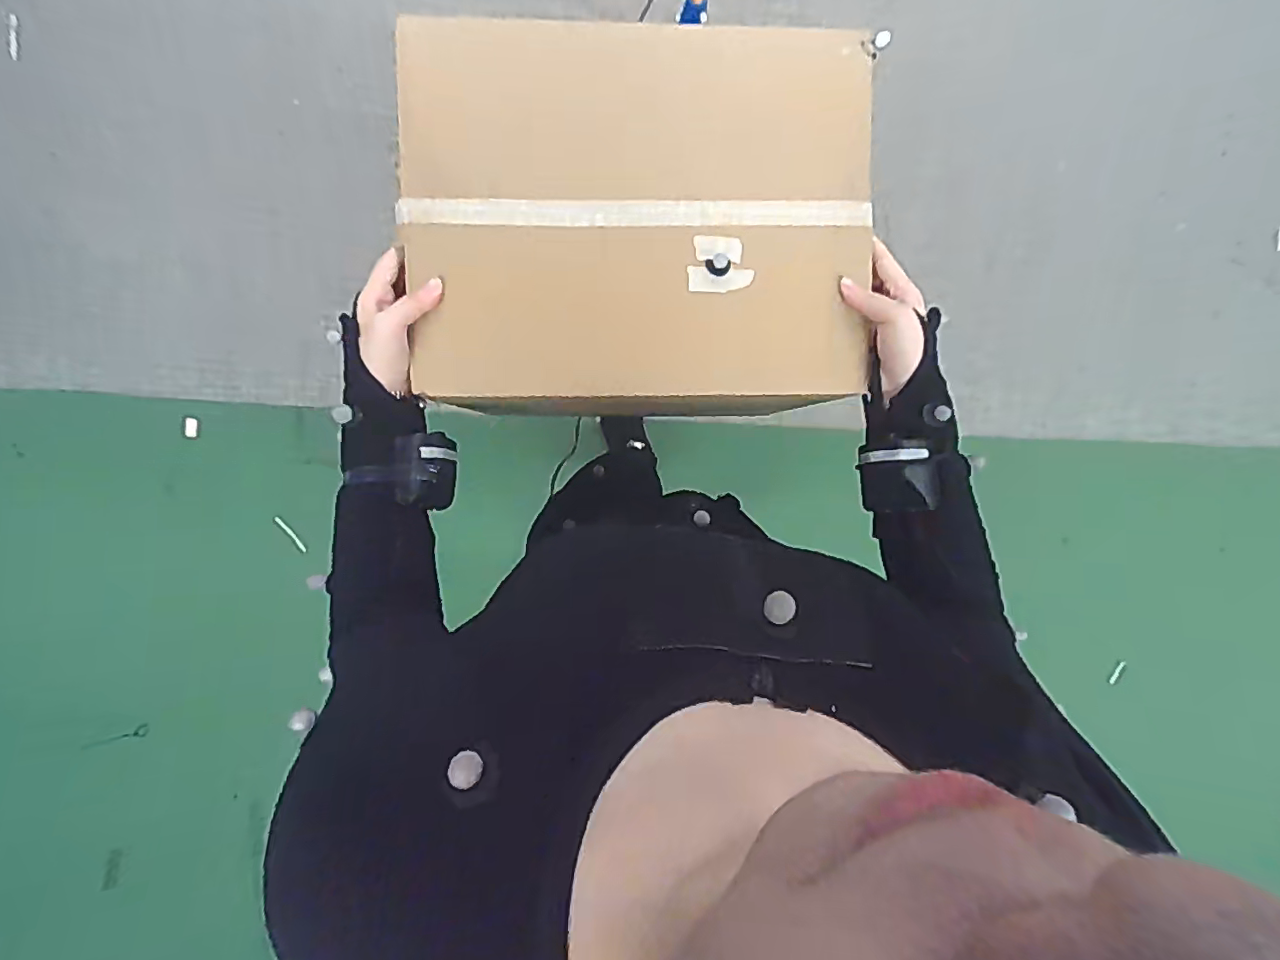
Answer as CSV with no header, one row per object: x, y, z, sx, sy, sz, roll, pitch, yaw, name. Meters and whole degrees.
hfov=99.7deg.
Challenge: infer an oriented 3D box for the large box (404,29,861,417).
-0.011,-0.243,0.626,0.408,0.320,0.320,-1,94,-4,large box
